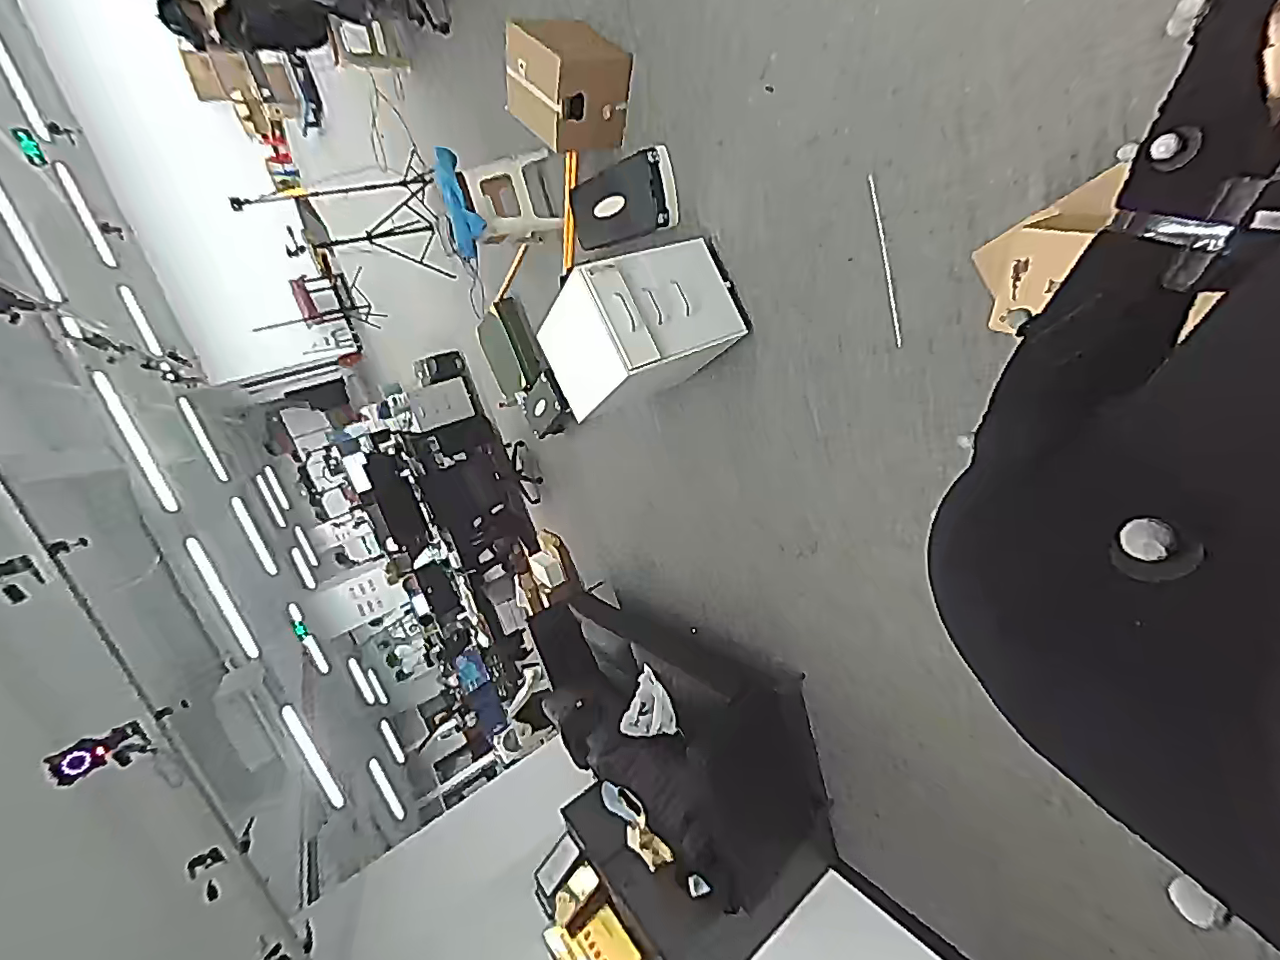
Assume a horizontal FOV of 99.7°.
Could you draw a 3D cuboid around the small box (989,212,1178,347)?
[{"bbox_3d":[0.724,-0.337,0.889,0.179,0.176,0.168,32,138,42],"label":"small box"}]
